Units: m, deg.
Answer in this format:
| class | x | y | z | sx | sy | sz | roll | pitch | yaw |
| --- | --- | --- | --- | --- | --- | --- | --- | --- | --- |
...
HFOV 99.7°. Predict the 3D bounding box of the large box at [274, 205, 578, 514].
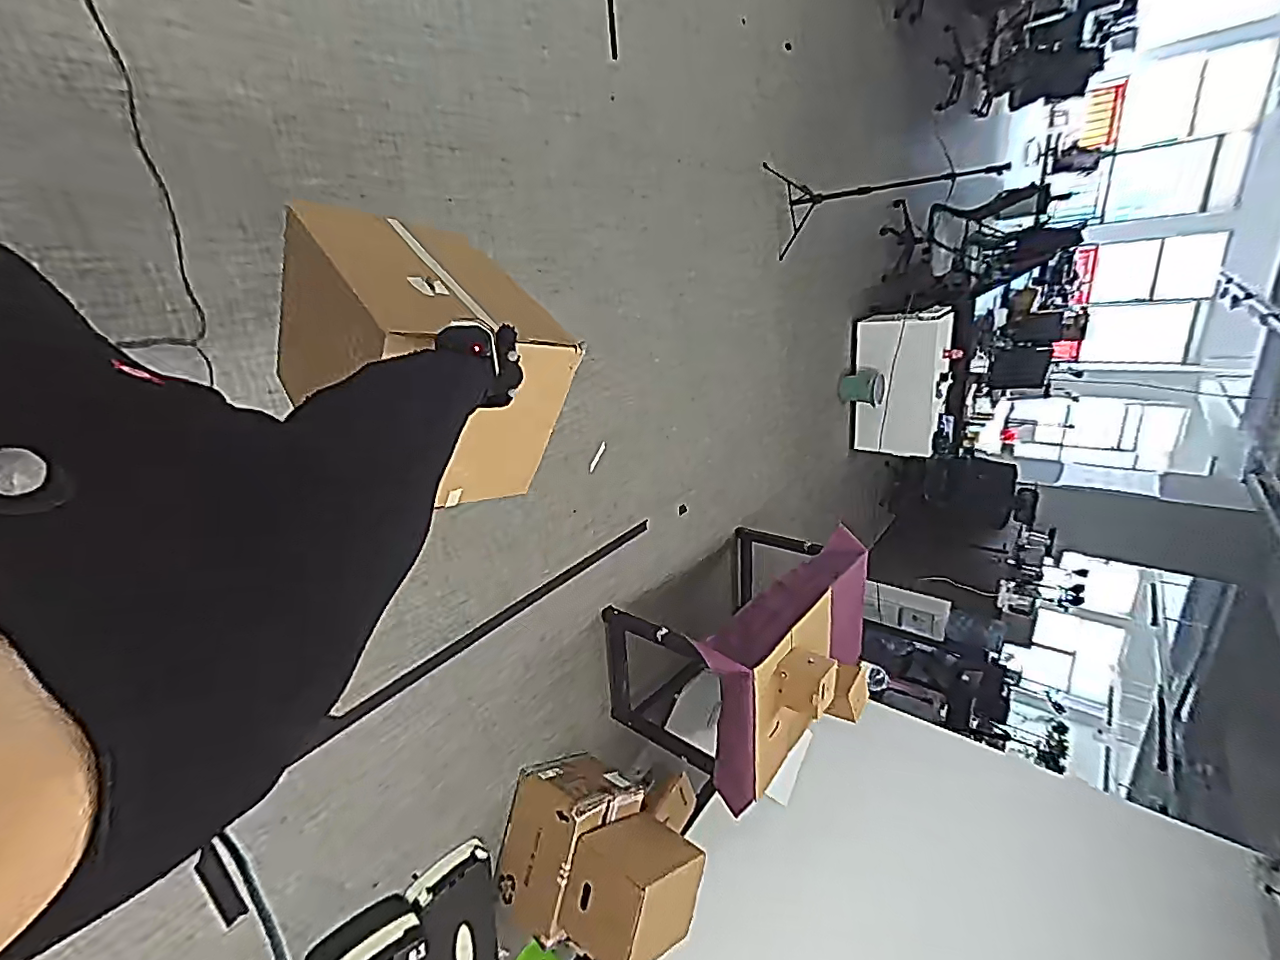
| class | x | y | z | sx | sy | sz | roll | pitch | yaw |
| --- | --- | --- | --- | --- | --- | --- | --- | --- | --- |
| large box | -0.385 | -0.203 | 0.934 | 0.320 | 0.408 | 0.320 | -11 | 139 | -46 |
